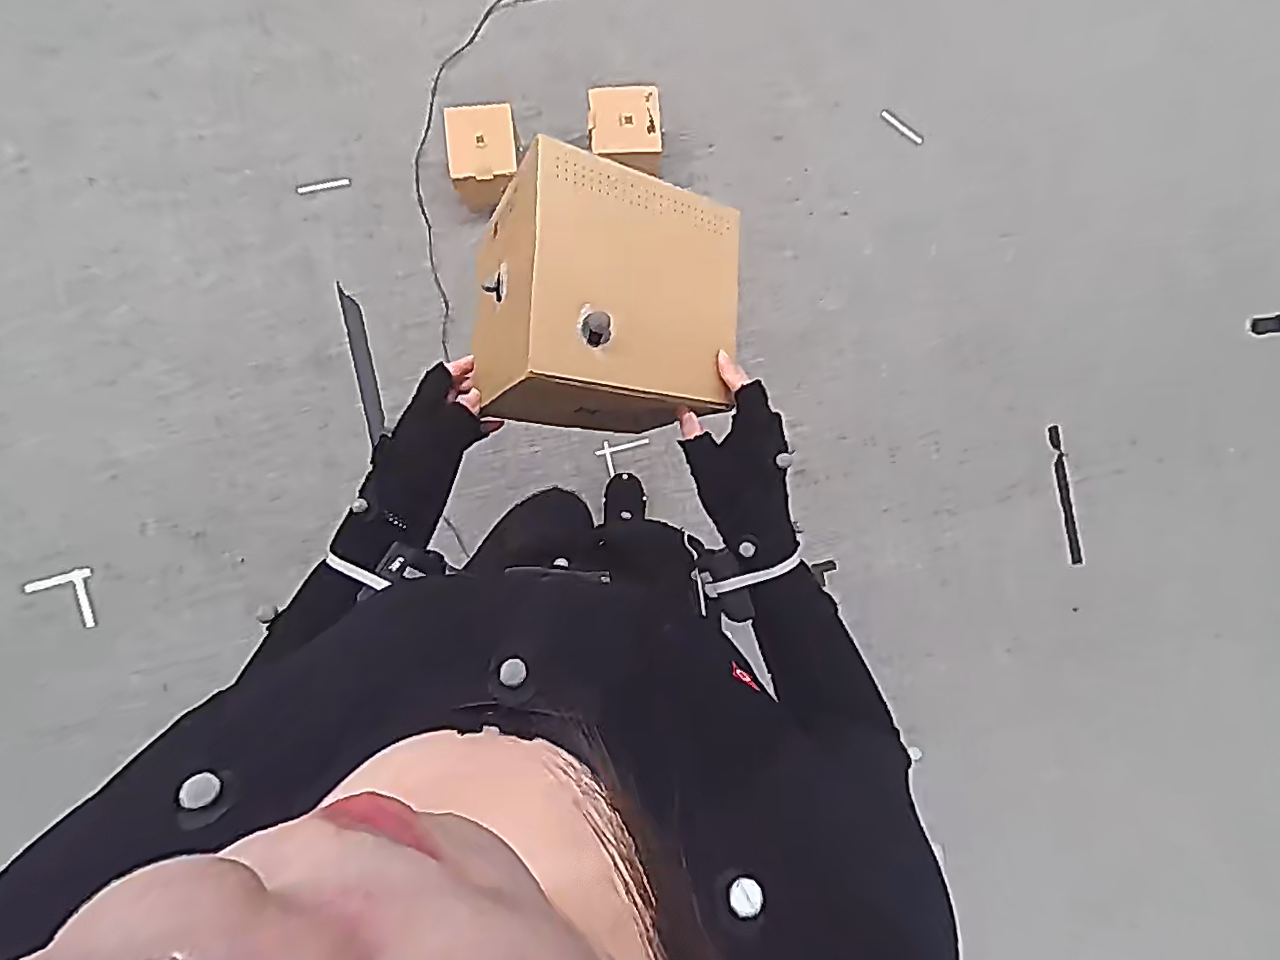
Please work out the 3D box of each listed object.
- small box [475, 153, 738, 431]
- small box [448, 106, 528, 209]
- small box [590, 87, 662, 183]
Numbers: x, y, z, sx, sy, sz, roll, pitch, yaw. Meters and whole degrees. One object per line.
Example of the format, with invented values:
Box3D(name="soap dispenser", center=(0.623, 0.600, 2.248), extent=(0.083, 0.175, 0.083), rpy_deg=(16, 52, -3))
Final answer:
Box3D(name="small box", center=(-0.033, -0.144, 0.469), extent=(0.179, 0.168, 0.176), rpy_deg=(4, 87, -29))
Box3D(name="small box", center=(-0.384, -0.825, 1.402), extent=(0.168, 0.176, 0.179), rpy_deg=(-6, 90, -2))
Box3D(name="small box", center=(-0.035, -0.884, 1.412), extent=(0.179, 0.176, 0.168), rpy_deg=(-3, 91, -2))
